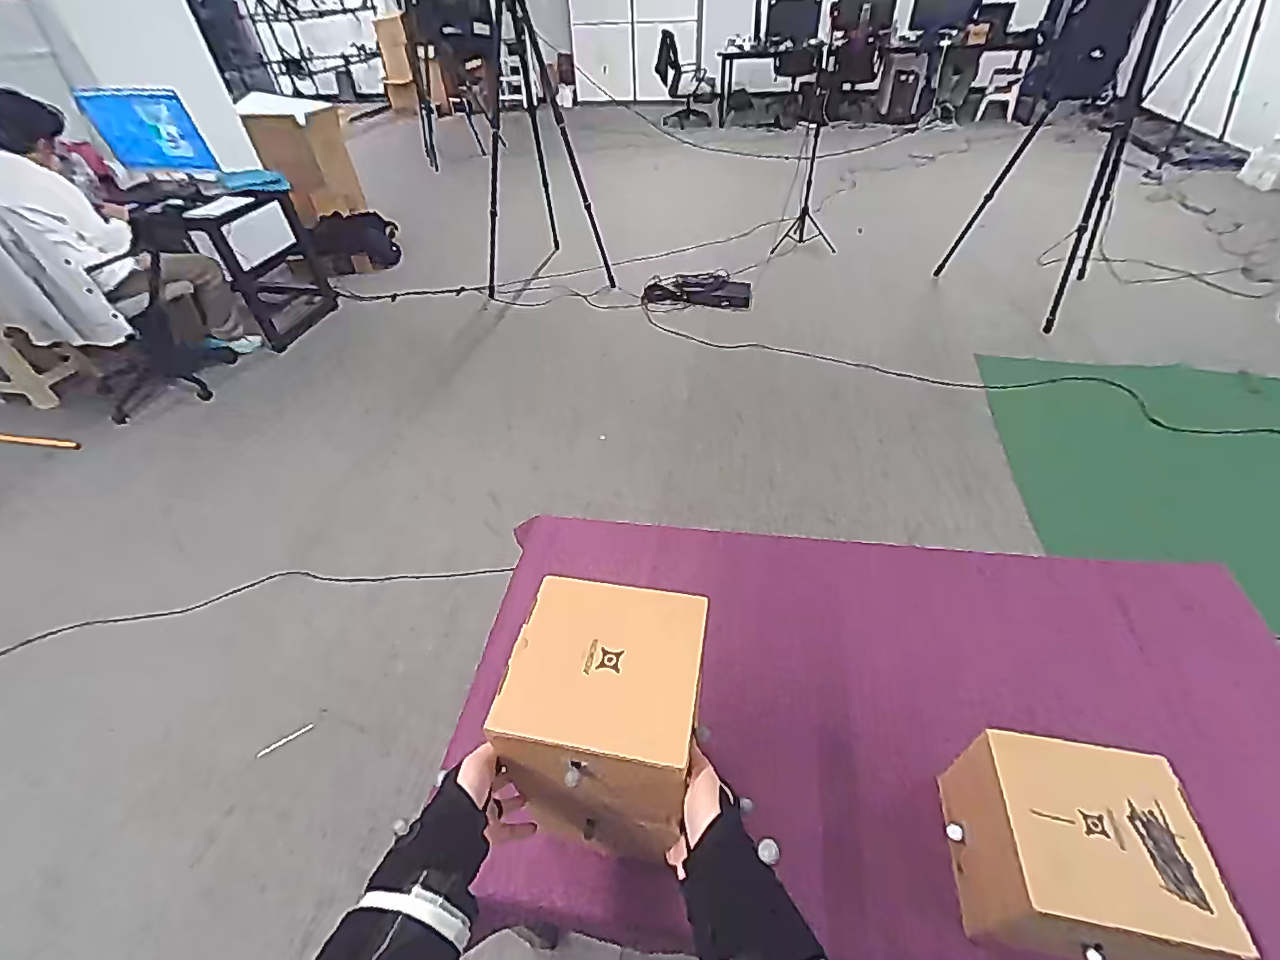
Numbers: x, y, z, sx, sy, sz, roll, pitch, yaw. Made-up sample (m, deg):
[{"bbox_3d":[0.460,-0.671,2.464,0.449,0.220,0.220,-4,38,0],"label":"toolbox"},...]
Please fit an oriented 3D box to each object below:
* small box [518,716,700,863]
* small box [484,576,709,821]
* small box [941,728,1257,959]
[{"bbox_3d":[-0.024,0.341,0.662,0.179,0.176,0.168,6,45,11],"label":"small box"},{"bbox_3d":[-0.027,0.223,0.550,0.179,0.176,0.168,5,44,11],"label":"small box"},{"bbox_3d":[0.451,0.393,0.574,0.179,0.176,0.168,5,44,11],"label":"small box"}]
